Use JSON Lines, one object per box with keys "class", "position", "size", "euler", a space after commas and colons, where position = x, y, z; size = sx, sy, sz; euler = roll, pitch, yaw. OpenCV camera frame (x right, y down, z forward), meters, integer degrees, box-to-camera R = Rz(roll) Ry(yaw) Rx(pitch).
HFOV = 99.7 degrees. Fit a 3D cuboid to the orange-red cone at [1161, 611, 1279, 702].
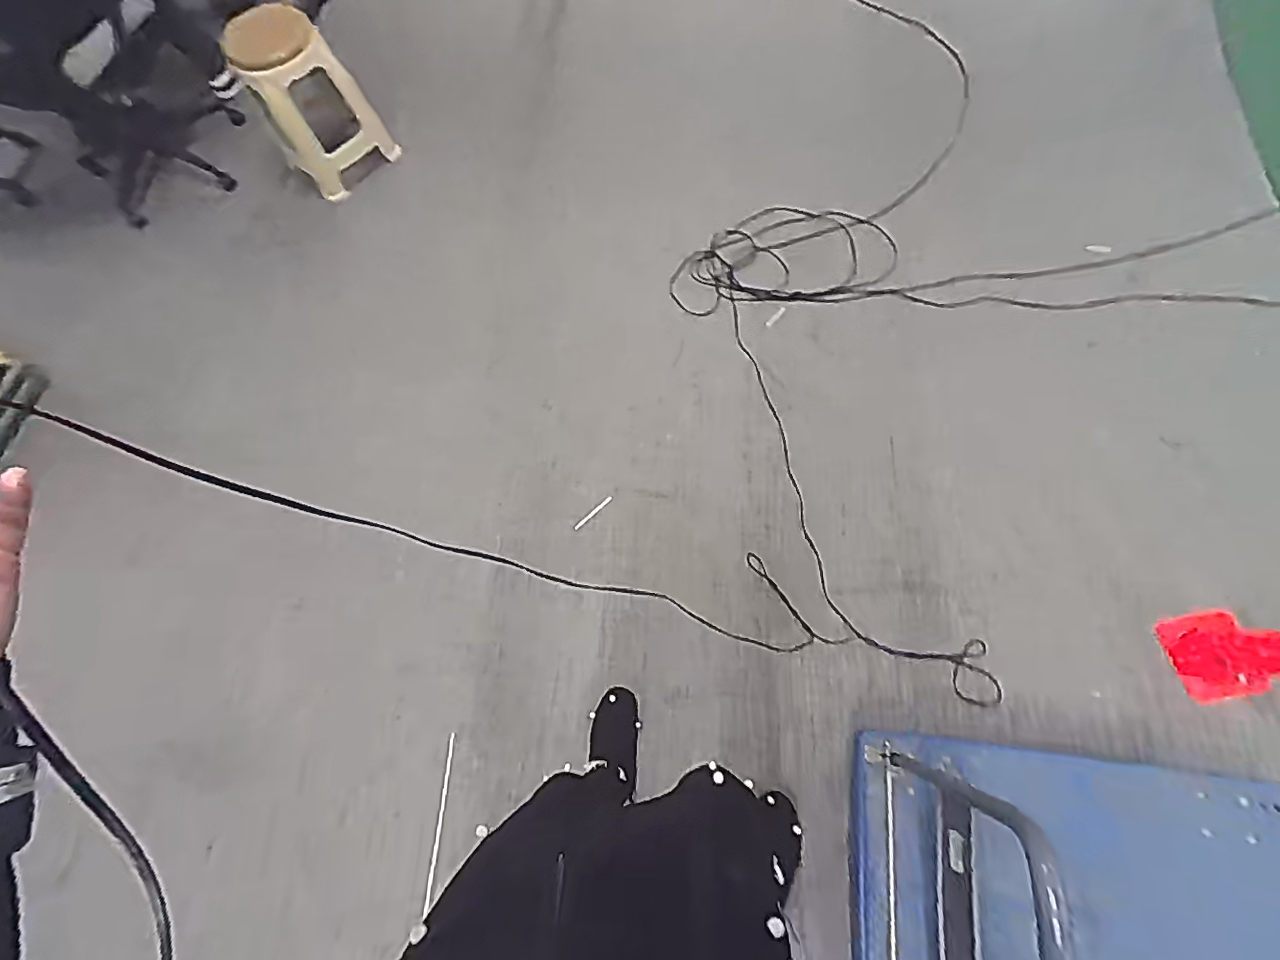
{"class": "orange-red cone", "position": [1.423, 0.379, 1.191], "size": [0.198, 0.360, 0.199], "euler": [-11, 69, -1]}
